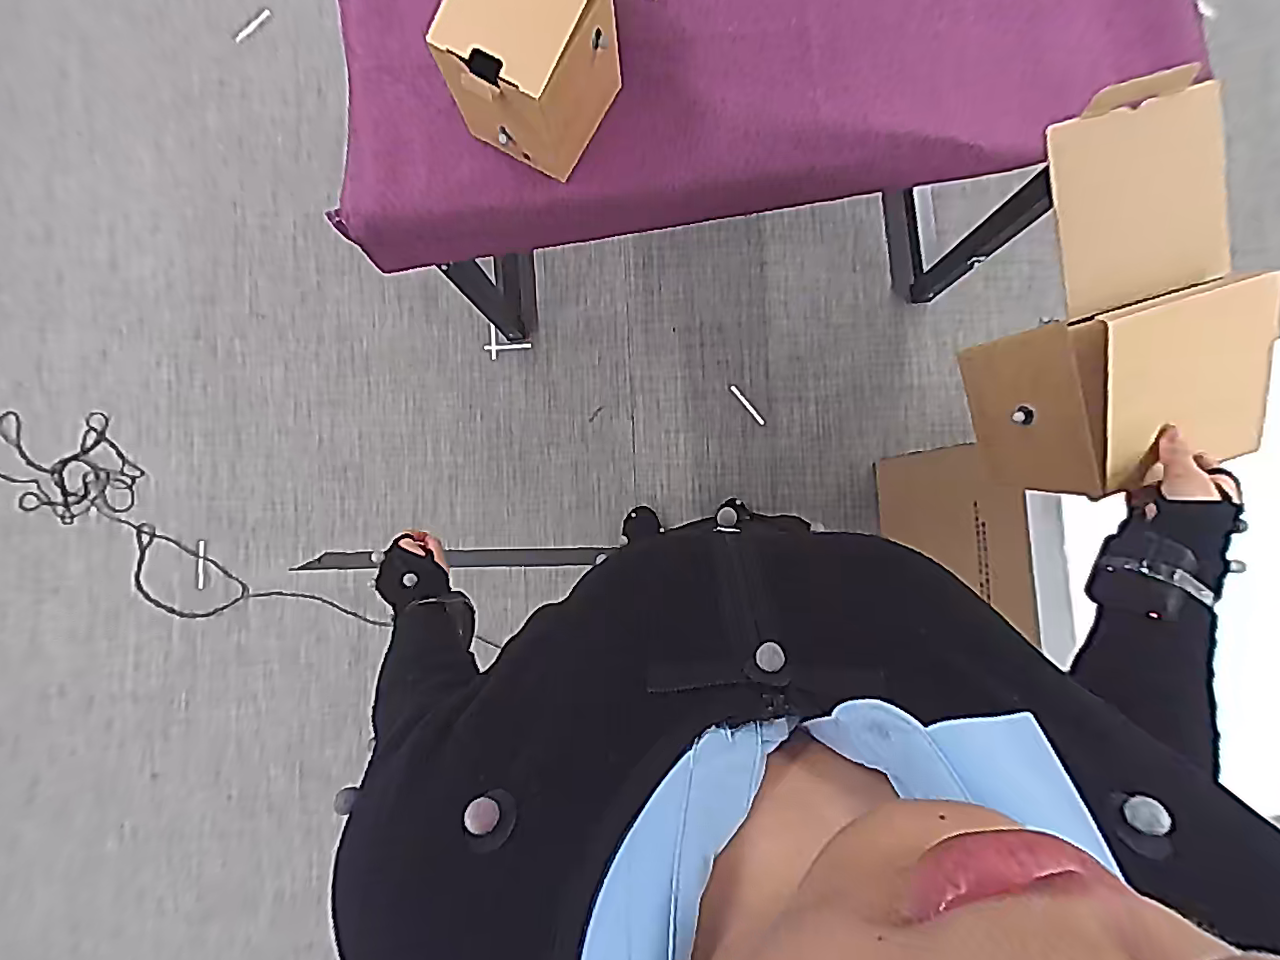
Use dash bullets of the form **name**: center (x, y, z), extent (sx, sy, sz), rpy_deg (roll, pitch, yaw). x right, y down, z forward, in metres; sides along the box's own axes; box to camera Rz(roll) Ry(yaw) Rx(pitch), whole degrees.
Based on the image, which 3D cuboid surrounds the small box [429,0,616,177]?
- **small box**: center (-0.143, -0.564, 0.733), extent (0.168, 0.176, 0.179), rpy_deg (30, 89, 4)
